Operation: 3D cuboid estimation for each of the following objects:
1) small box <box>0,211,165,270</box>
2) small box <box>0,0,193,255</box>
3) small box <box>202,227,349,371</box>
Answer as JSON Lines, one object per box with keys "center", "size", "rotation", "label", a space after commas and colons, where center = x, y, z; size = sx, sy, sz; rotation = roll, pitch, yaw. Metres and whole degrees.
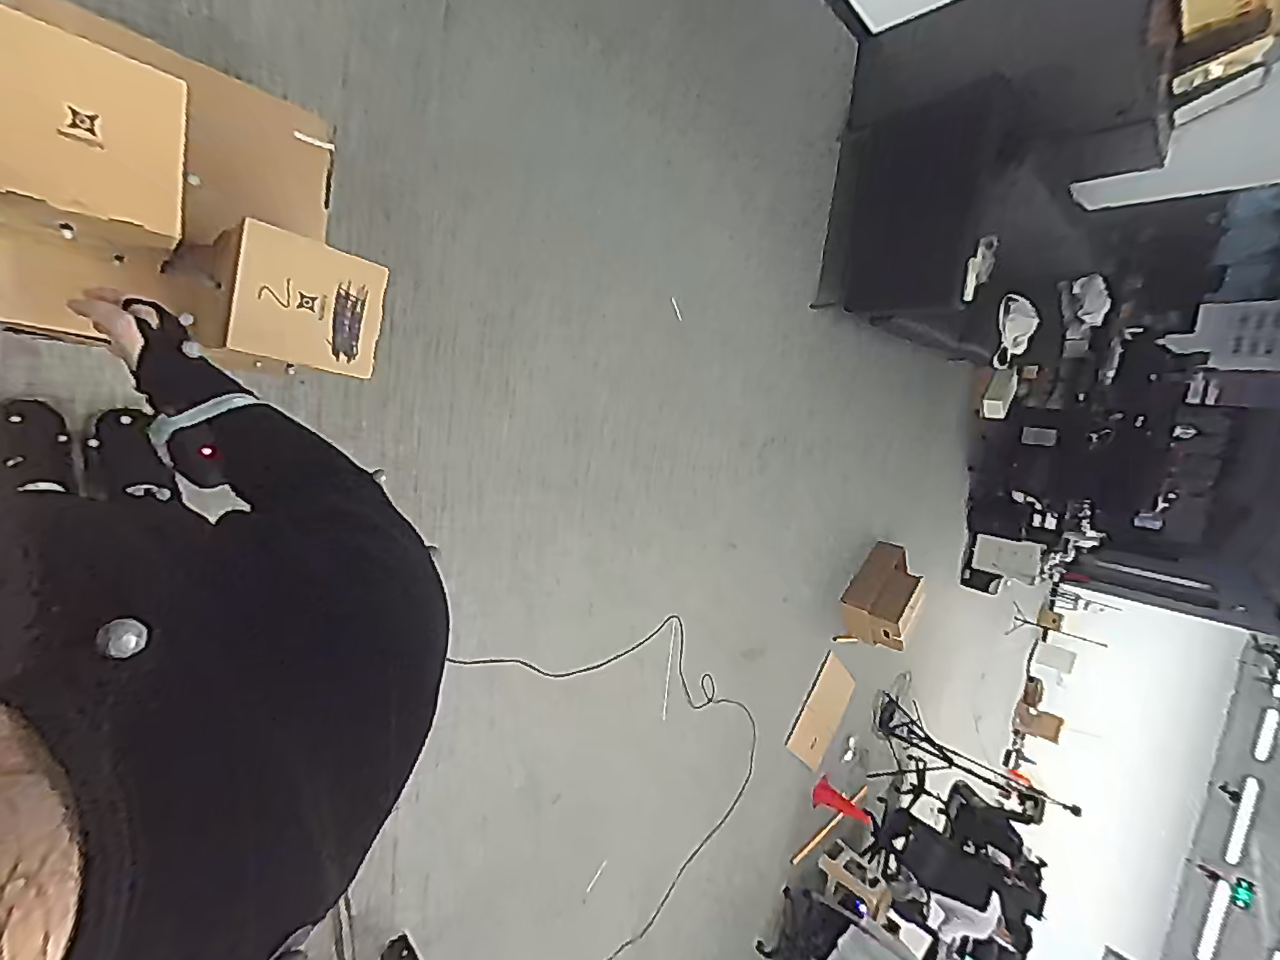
{"center": [-0.750, -0.402, 0.735], "size": [0.168, 0.176, 0.179], "rotation": [4, 95, -44], "label": "small box"}
{"center": [-0.635, -0.382, 0.622], "size": [0.168, 0.176, 0.179], "rotation": [2, 97, -44], "label": "small box"}
{"center": [-0.606, -0.284, 0.895], "size": [0.168, 0.176, 0.179], "rotation": [6, 93, -45], "label": "small box"}
